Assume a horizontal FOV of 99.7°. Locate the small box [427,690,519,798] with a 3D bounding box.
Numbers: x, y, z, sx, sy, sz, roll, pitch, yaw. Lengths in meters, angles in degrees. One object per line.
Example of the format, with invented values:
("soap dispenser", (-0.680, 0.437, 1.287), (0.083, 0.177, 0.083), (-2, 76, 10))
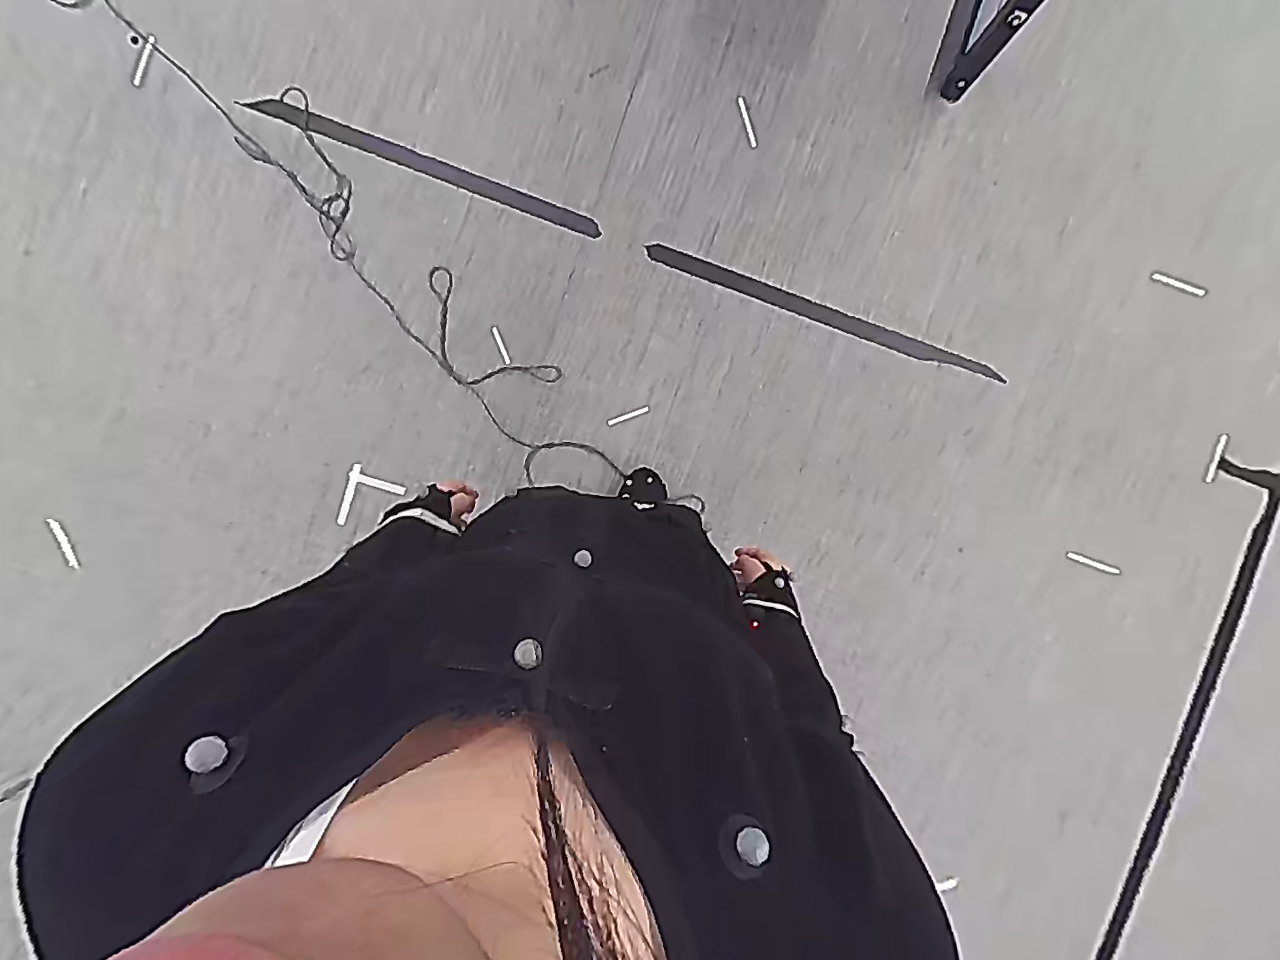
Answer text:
("small box", (-0.424, 0.676, 1.406), (0.168, 0.176, 0.179), (17, 92, -1))
